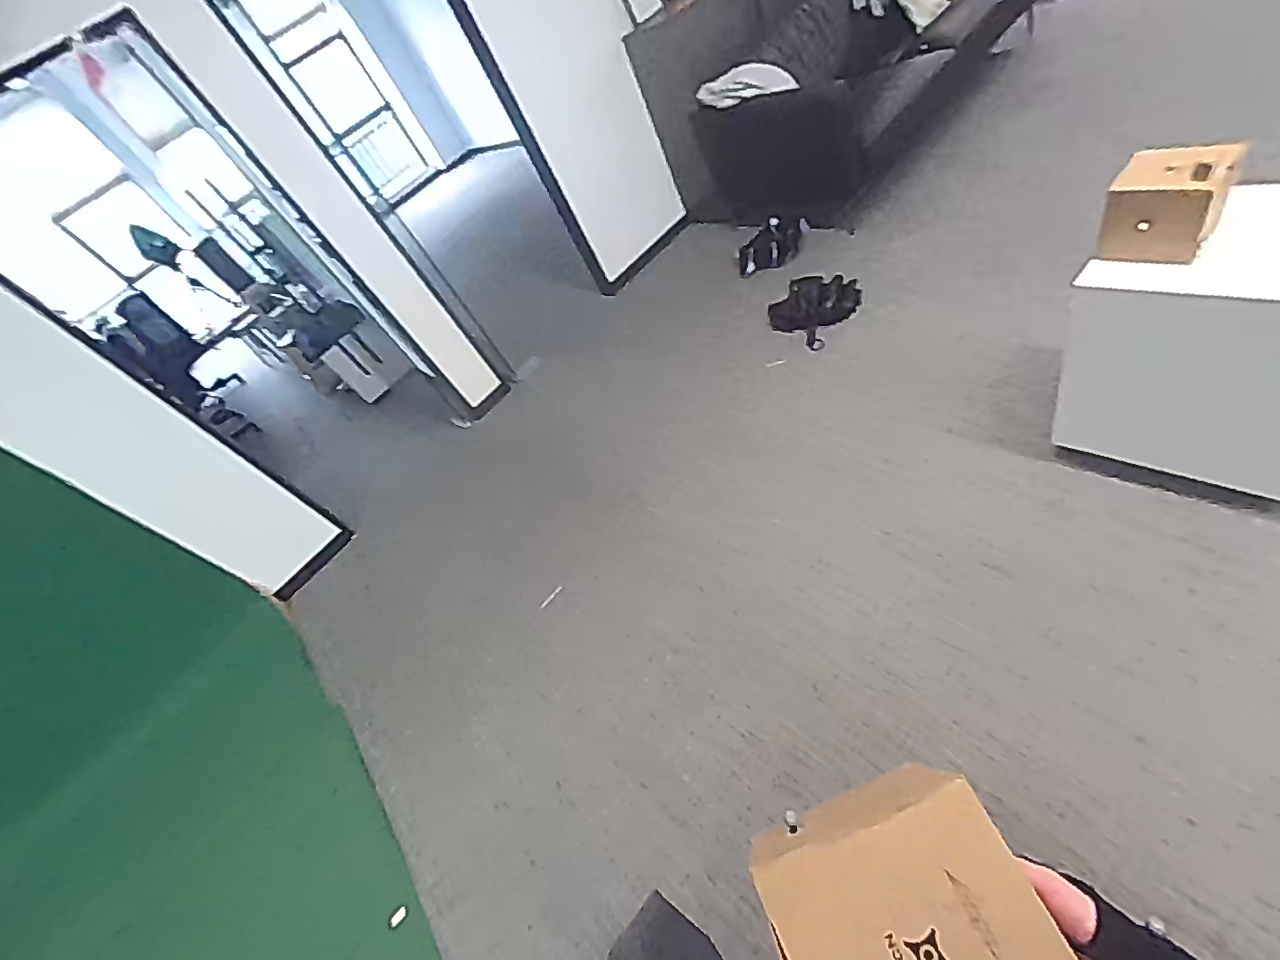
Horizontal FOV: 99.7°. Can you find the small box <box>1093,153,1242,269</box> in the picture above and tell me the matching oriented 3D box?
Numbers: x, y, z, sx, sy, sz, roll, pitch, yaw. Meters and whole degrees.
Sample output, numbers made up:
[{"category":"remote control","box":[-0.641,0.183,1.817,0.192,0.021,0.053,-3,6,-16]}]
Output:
[{"category":"small box","box":[1.147,-0.585,1.189,0.168,0.176,0.179,-46,44,-15]}]

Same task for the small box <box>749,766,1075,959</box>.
[{"category":"small box","box":[0.203,0.350,0.430,0.179,0.176,0.168,-25,64,-1]}]
